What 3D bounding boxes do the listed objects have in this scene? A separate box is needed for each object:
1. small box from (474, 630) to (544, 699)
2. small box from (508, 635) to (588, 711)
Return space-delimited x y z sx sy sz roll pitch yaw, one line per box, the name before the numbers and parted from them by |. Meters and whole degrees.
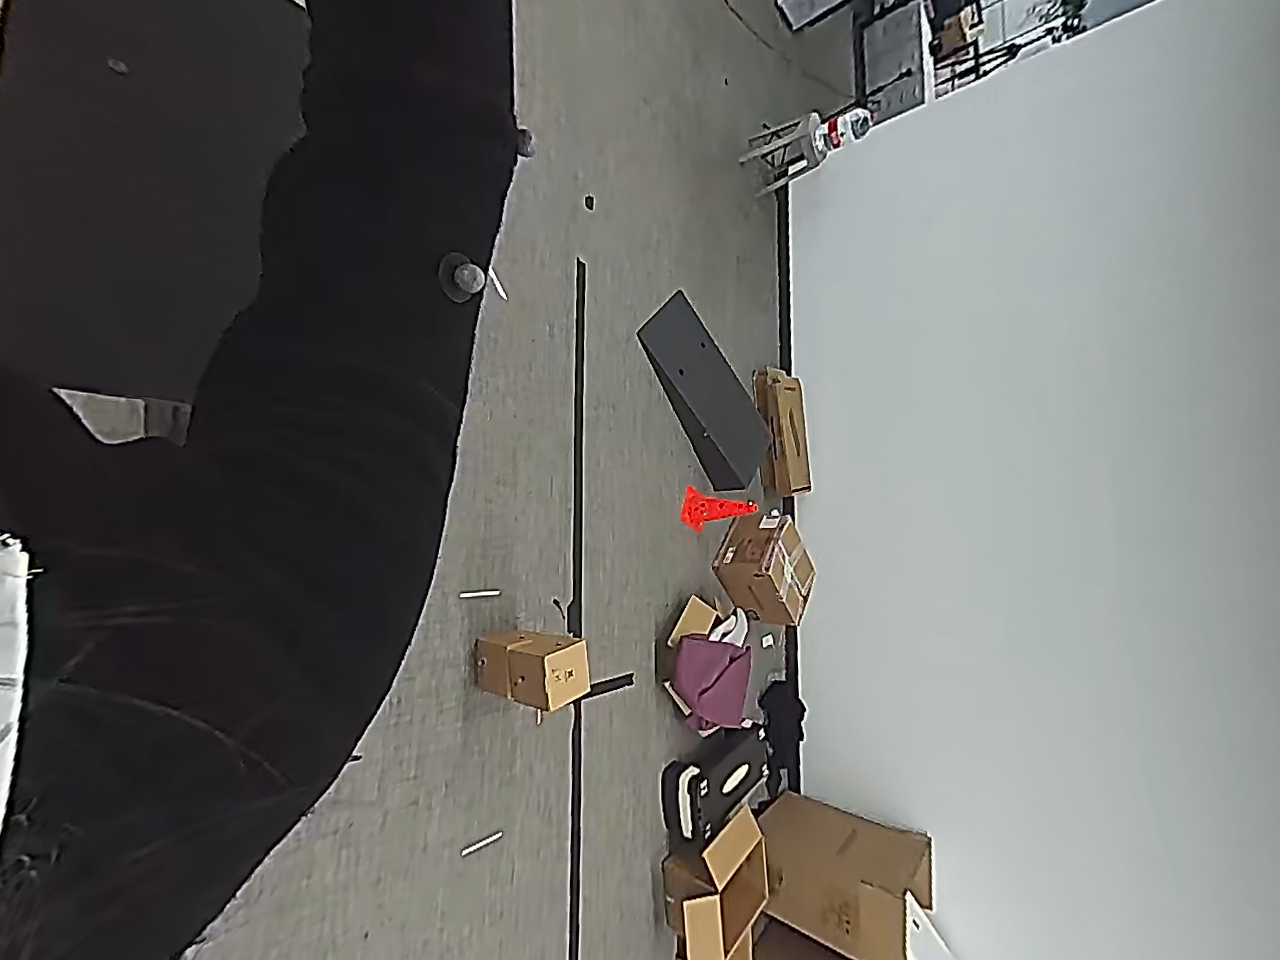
small box | -0.422 0.597 1.774 0.179 0.176 0.168 2 84 -50
small box | -0.286 0.591 1.680 0.179 0.176 0.168 -5 90 -51
